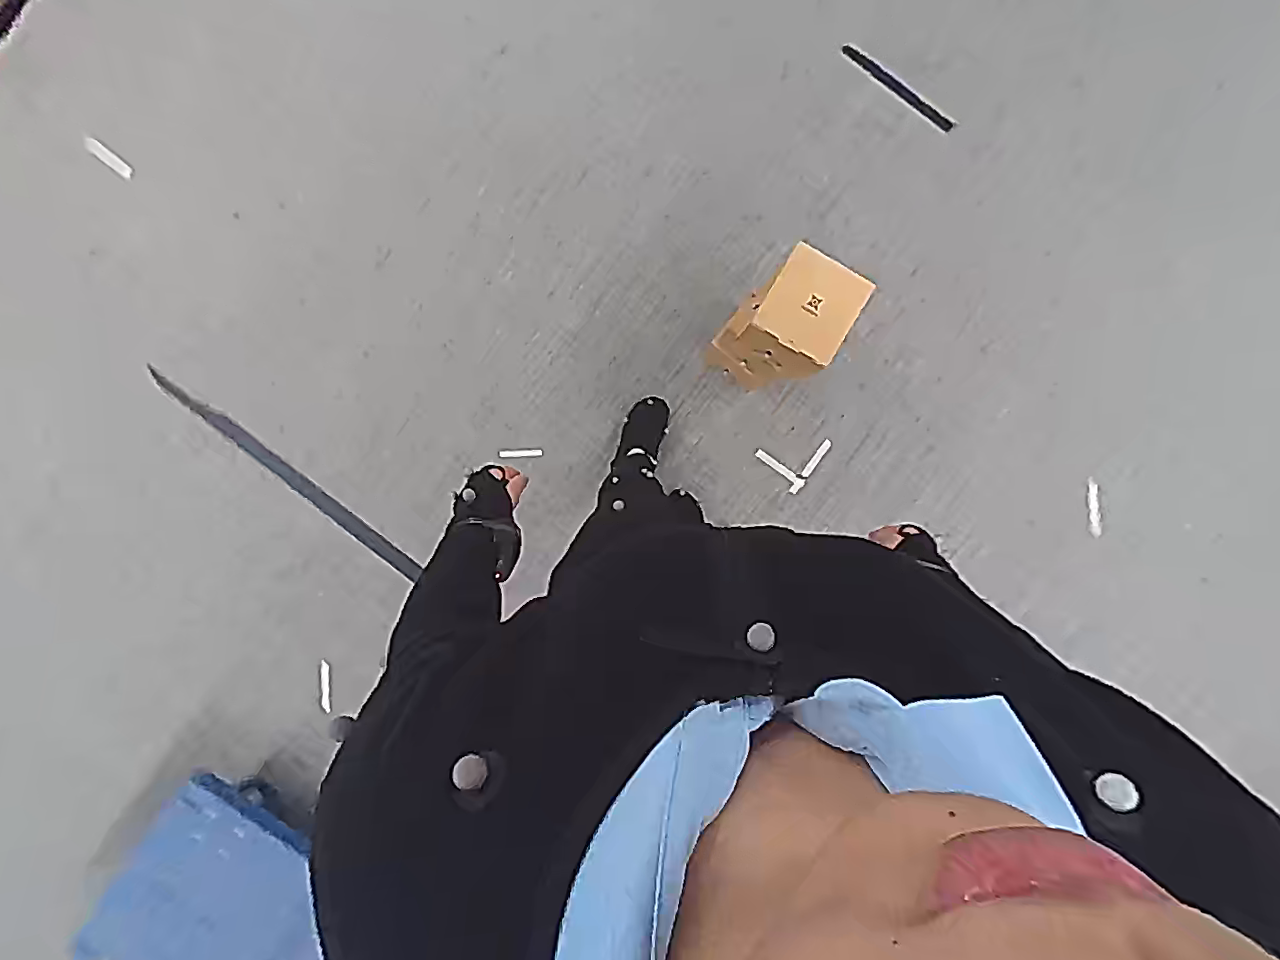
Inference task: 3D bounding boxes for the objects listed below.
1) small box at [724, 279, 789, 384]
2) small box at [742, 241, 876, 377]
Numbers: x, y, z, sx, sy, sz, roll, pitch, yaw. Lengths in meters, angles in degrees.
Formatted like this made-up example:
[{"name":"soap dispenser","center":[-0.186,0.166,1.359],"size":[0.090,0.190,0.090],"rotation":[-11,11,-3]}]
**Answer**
[{"name":"small box","center":[0.308,-0.340,1.225],"size":[0.168,0.176,0.179],"rotation":[42,93,-1]},{"name":"small box","center":[0.318,-0.324,1.063],"size":[0.168,0.176,0.179],"rotation":[30,93,-1]}]
